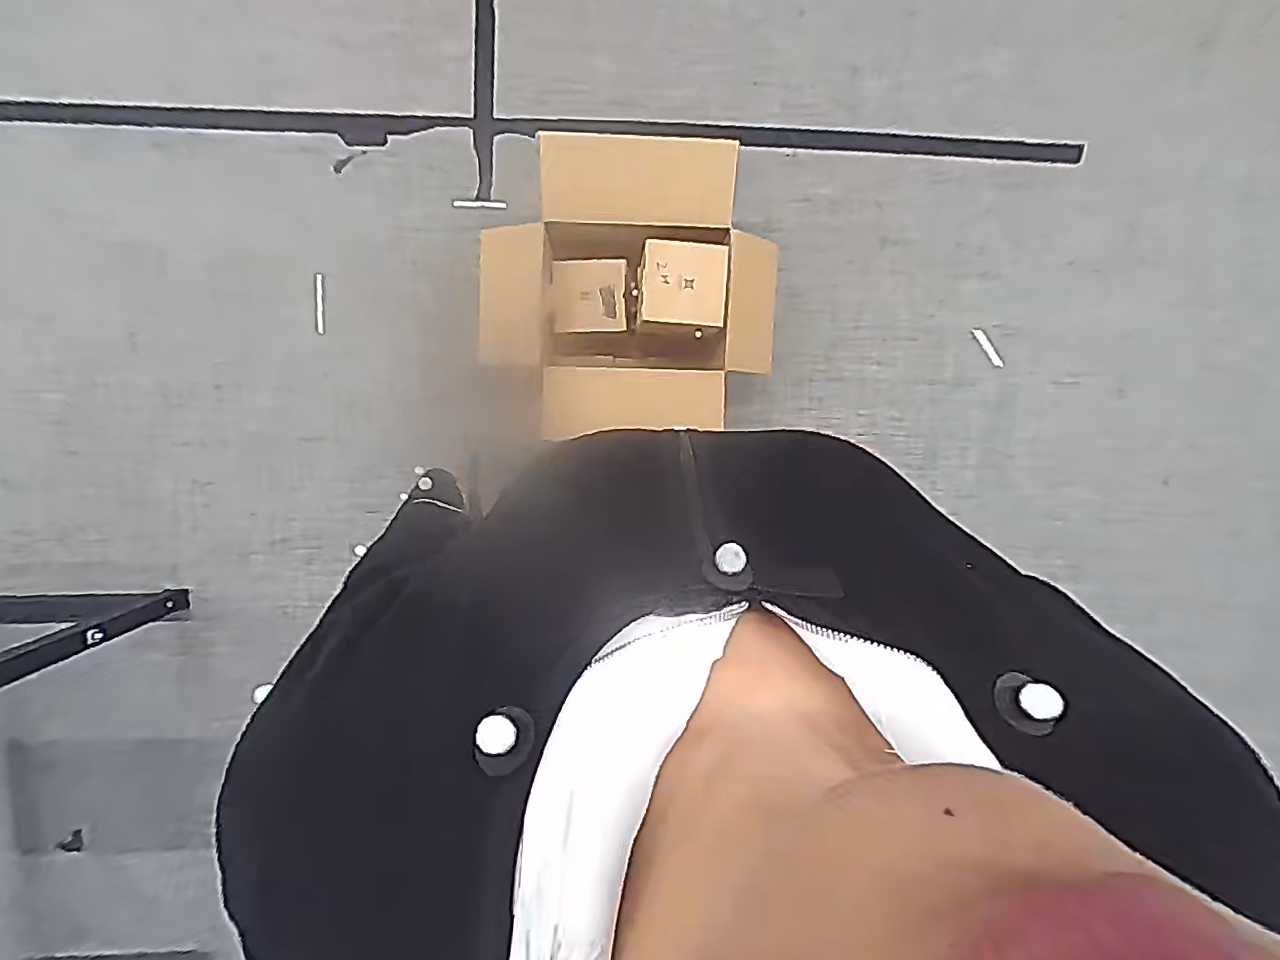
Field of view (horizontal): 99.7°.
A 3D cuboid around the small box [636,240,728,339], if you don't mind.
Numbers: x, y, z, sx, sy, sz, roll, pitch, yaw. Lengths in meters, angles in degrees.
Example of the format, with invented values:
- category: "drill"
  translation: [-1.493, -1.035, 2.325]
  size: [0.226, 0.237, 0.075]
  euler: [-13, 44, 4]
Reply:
- category: "small box"
  translation: [0.086, -0.412, 1.195]
  size: [0.179, 0.176, 0.168]
  euler: [3, 94, -3]
